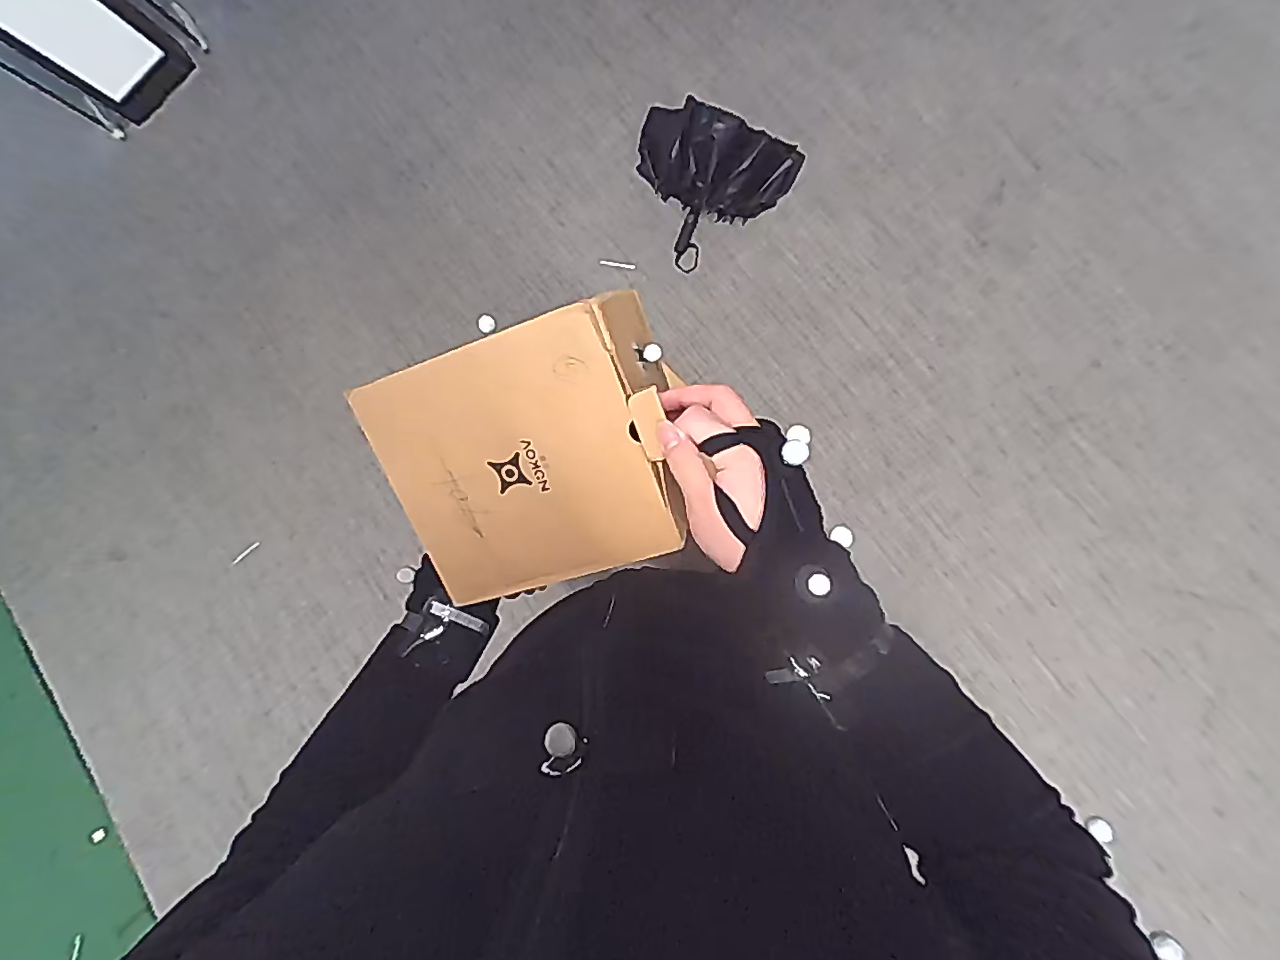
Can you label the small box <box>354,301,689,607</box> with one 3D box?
[{"bbox_3d":[-0.066,-0.031,0.422,0.179,0.176,0.168,-17,105,15],"label":"small box"}]
